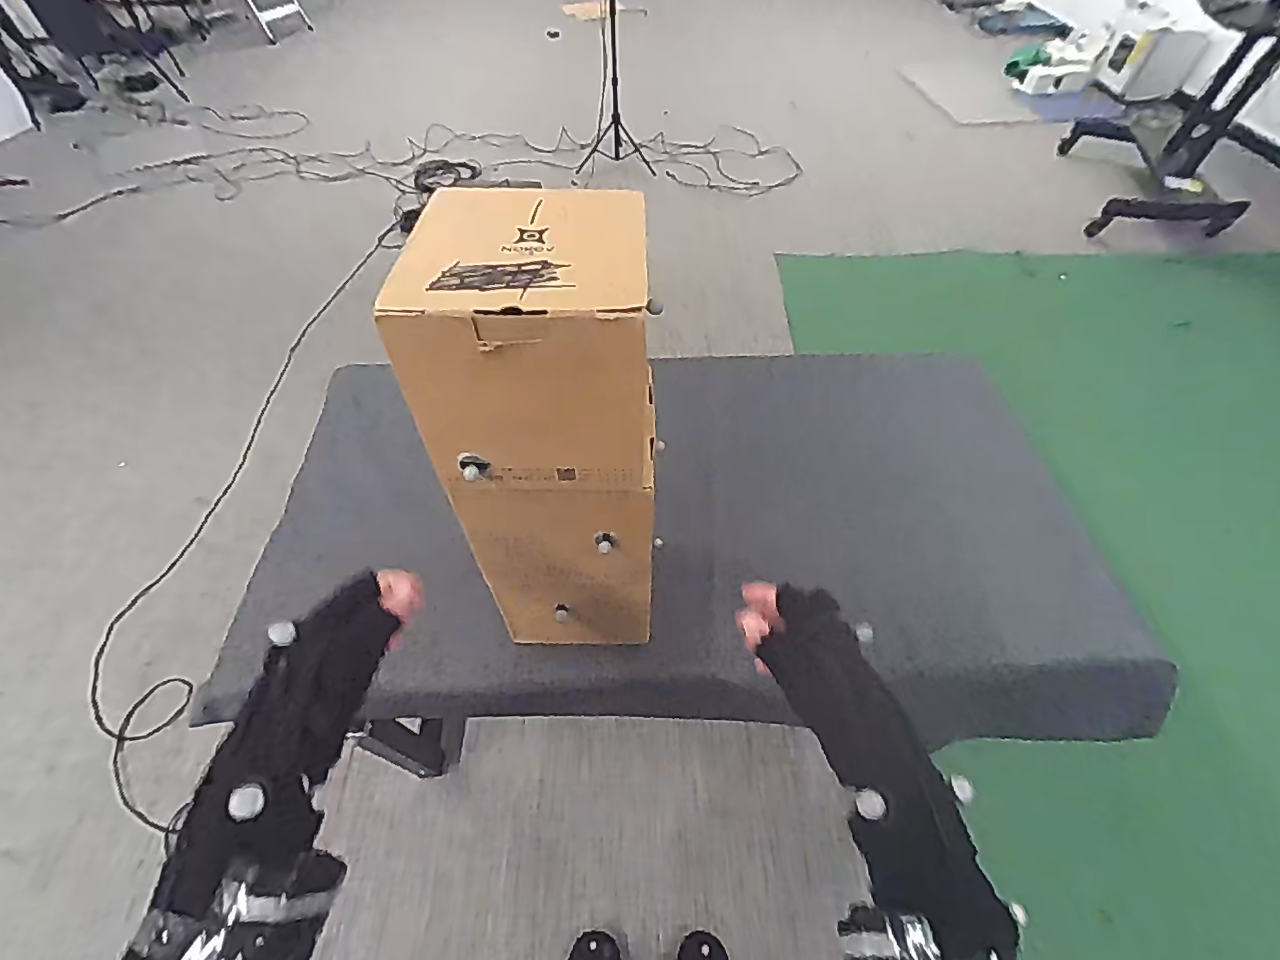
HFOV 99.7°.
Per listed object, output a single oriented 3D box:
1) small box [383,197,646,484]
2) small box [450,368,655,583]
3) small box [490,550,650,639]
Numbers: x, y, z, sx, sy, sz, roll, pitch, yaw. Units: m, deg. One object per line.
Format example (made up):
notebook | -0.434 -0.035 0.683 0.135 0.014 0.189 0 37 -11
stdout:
small box | -0.079 -0.111 0.447 0.168 0.176 0.179 1 49 -1
small box | -0.076 -0.002 0.571 0.179 0.176 0.168 -1 50 0
small box | -0.076 0.096 0.699 0.179 0.176 0.168 0 51 0
